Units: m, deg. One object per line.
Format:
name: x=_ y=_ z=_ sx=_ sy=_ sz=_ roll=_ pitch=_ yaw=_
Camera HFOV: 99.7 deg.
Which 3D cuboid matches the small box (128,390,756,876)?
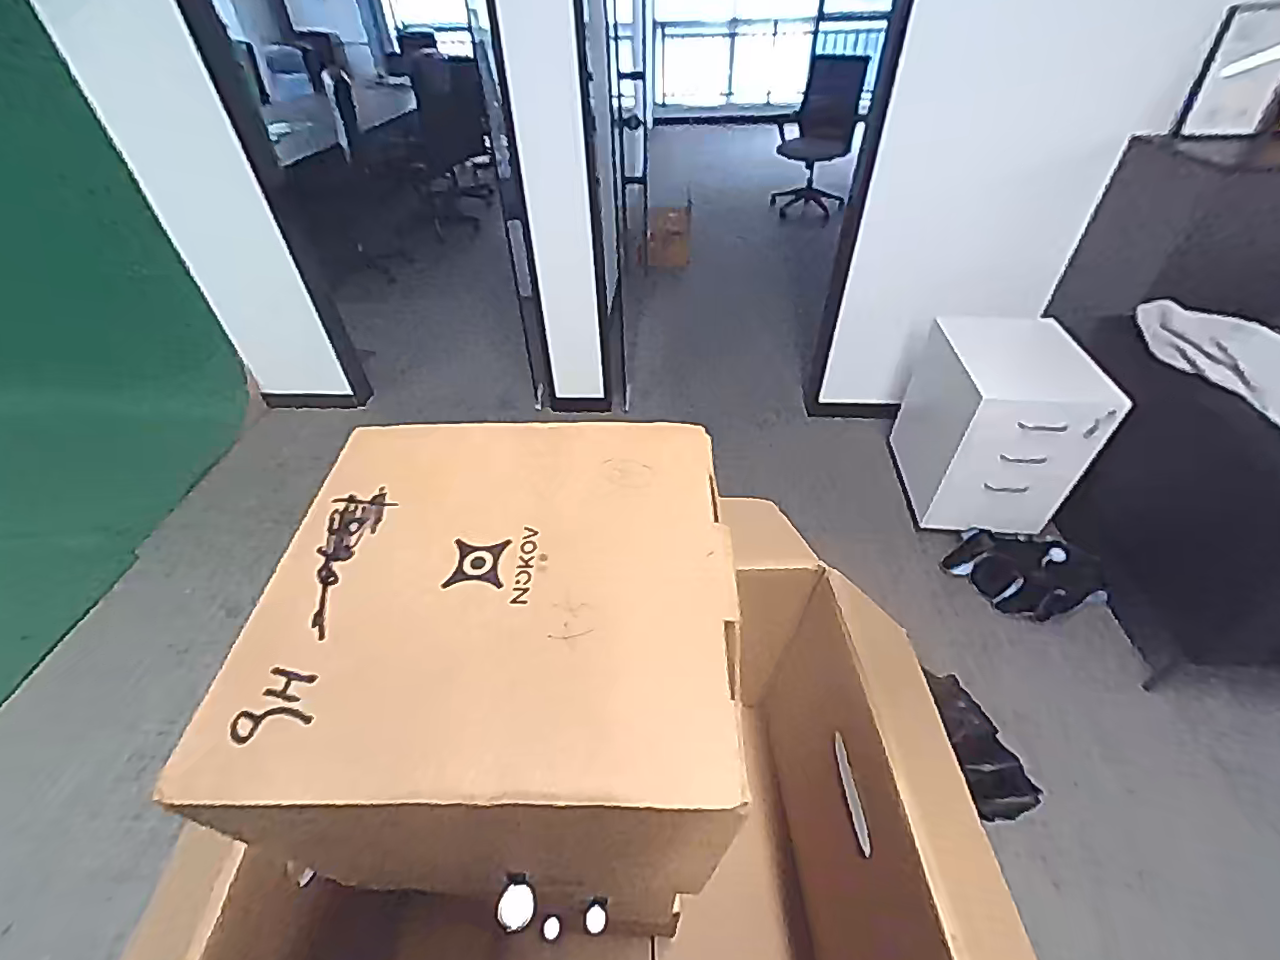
small box: x=-0.054 y=0.077 z=0.260 sx=0.179 sy=0.176 sz=0.168 roll=1 pitch=47 yaw=0
